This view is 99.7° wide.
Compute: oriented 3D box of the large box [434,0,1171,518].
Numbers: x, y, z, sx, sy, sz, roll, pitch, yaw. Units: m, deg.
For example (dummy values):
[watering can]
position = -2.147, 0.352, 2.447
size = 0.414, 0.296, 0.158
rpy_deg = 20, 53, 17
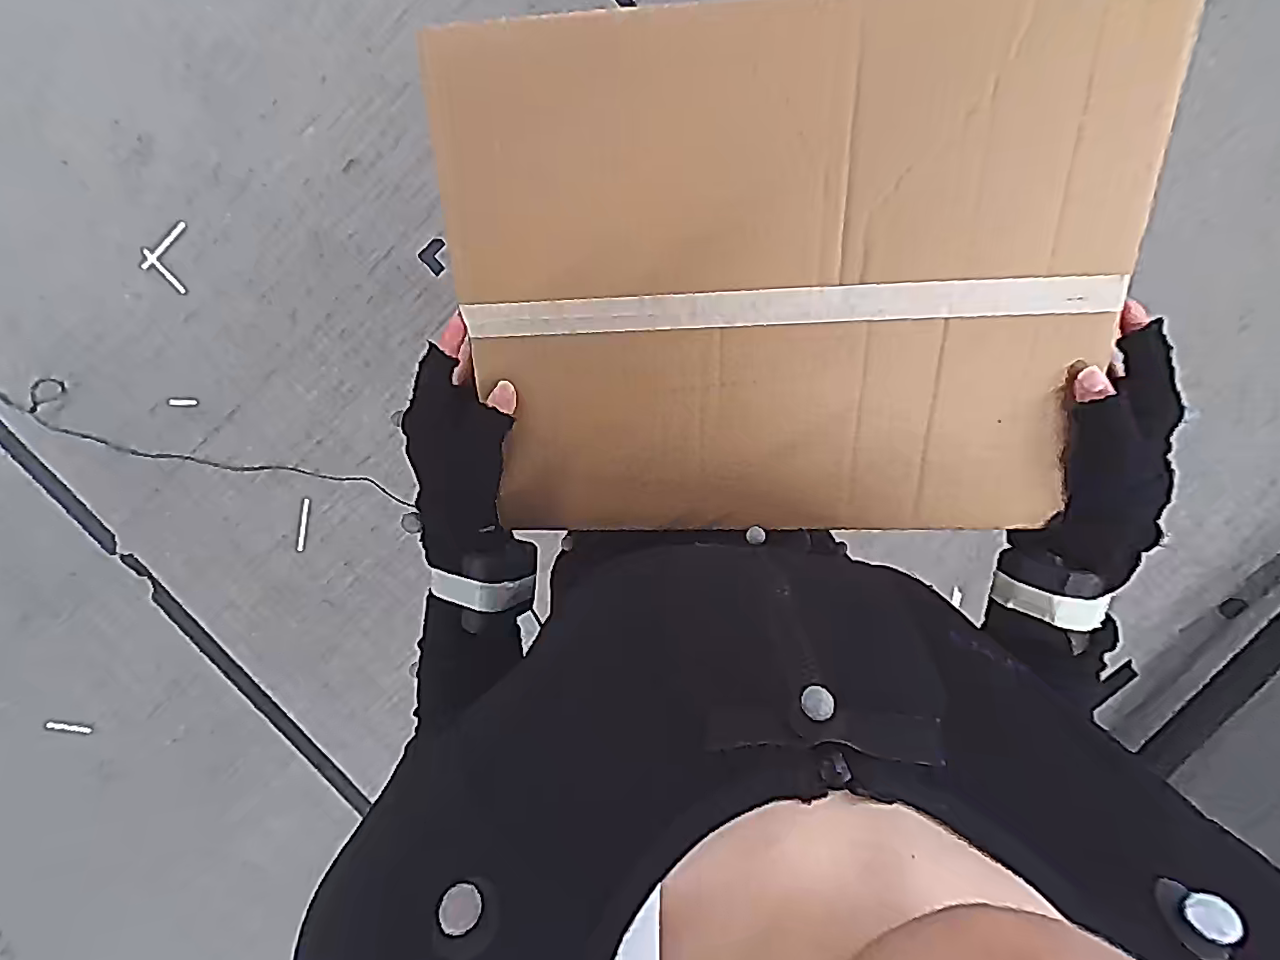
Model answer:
[large box]
position = 0.093, -0.172, 0.486
size = 0.408, 0.320, 0.320
rpy_deg = 0, 114, 5
